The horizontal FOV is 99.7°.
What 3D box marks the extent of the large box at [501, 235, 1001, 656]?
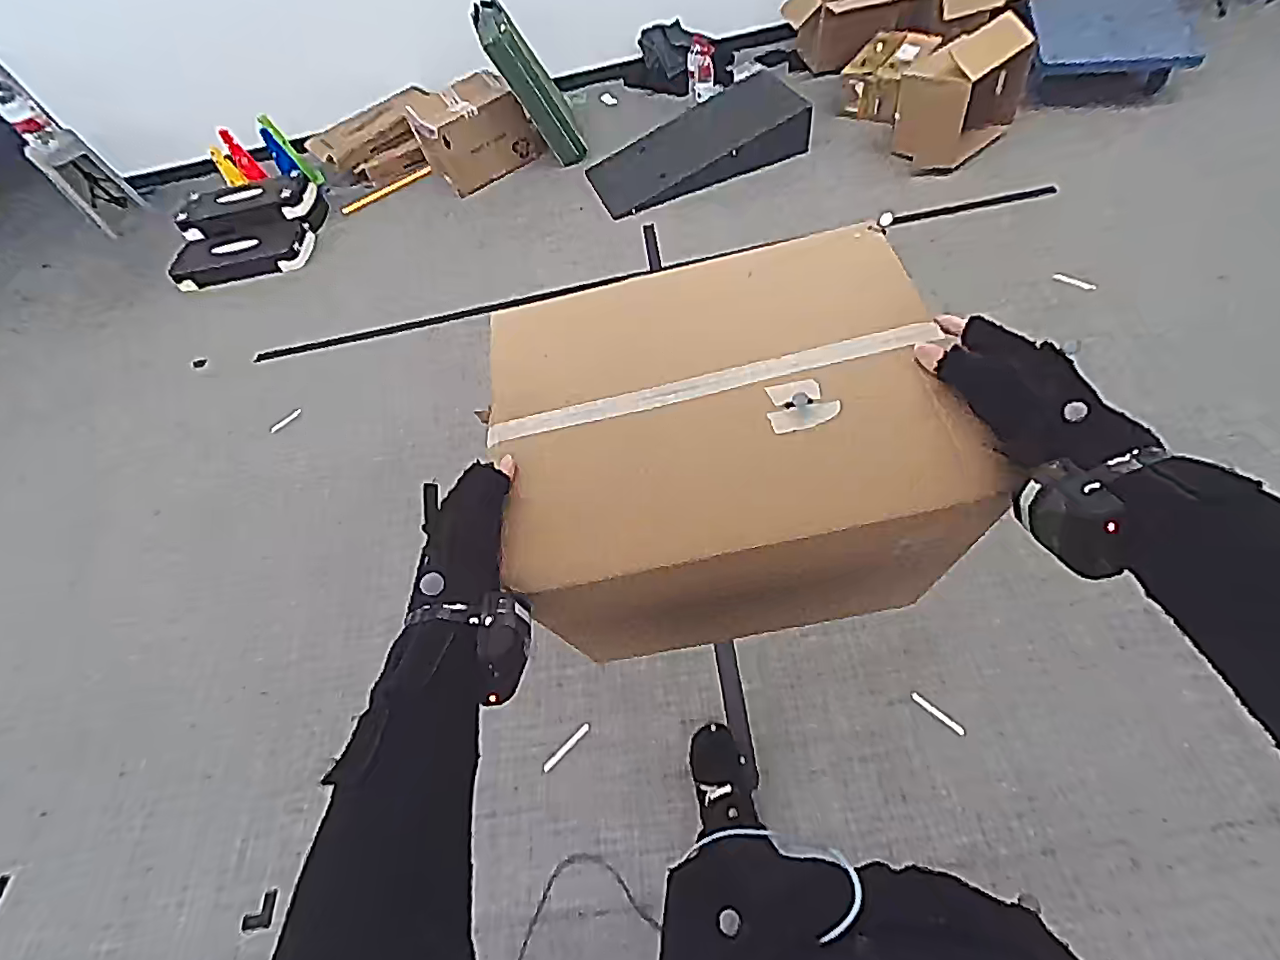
[{"bbox_3d":[0.088,-0.013,0.631,0.408,0.320,0.320,-12,61,3],"label":"large box"}]
